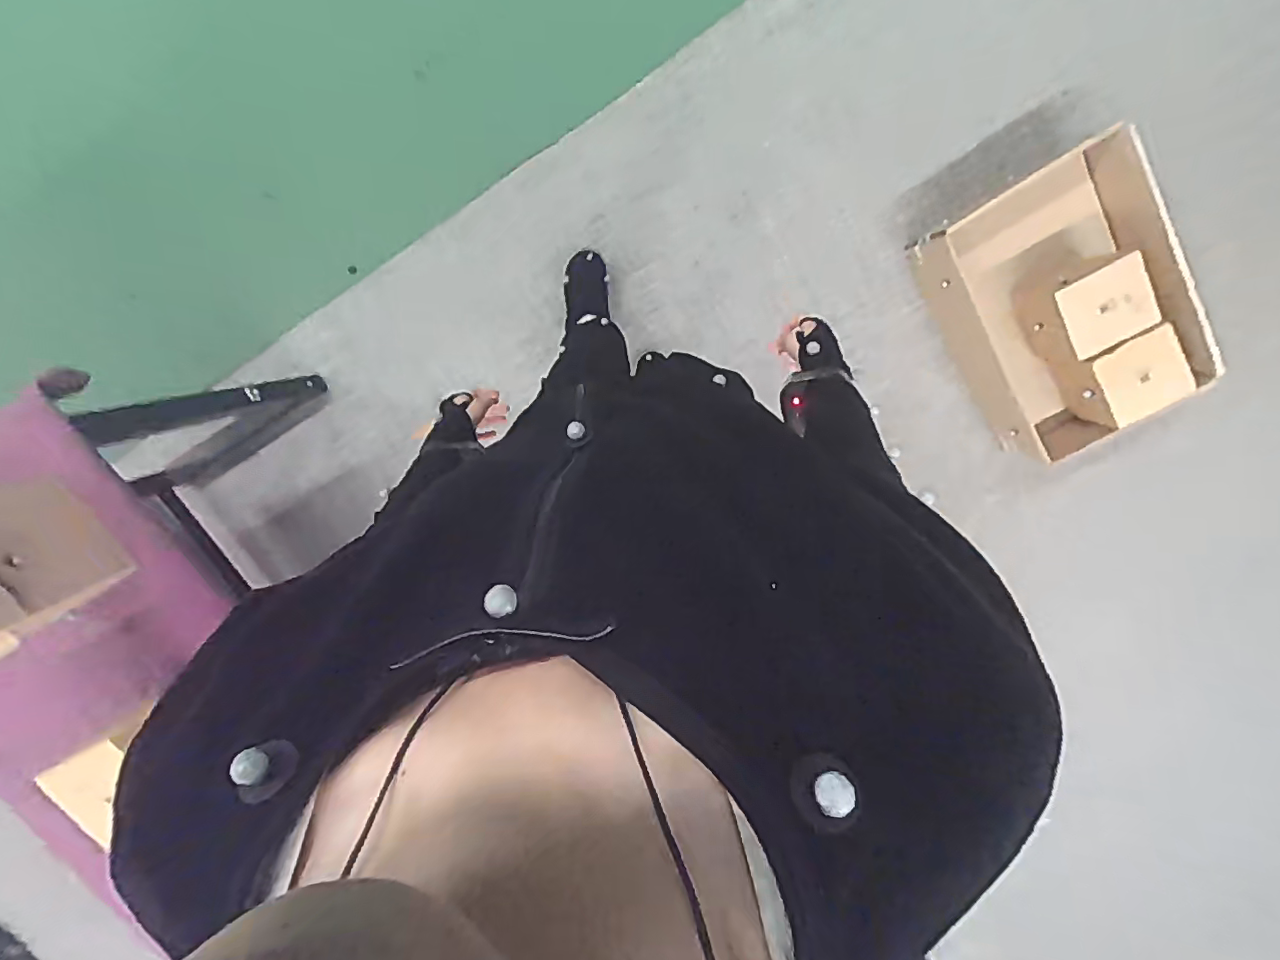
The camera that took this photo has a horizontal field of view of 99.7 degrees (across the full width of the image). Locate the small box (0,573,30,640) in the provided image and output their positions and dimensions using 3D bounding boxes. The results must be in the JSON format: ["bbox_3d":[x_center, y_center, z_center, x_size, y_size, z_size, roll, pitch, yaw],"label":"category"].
[{"bbox_3d":[-0.886,0.168,0.614,0.179,0.176,0.168,-28,104,11],"label":"small box"}]

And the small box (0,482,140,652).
[{"bbox_3d":[-0.894,0.129,0.774,0.168,0.176,0.179,-30,102,11],"label":"small box"}]

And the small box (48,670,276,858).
[{"bbox_3d":[-0.737,0.441,0.858,0.168,0.176,0.179,-27,103,12],"label":"small box"}]
